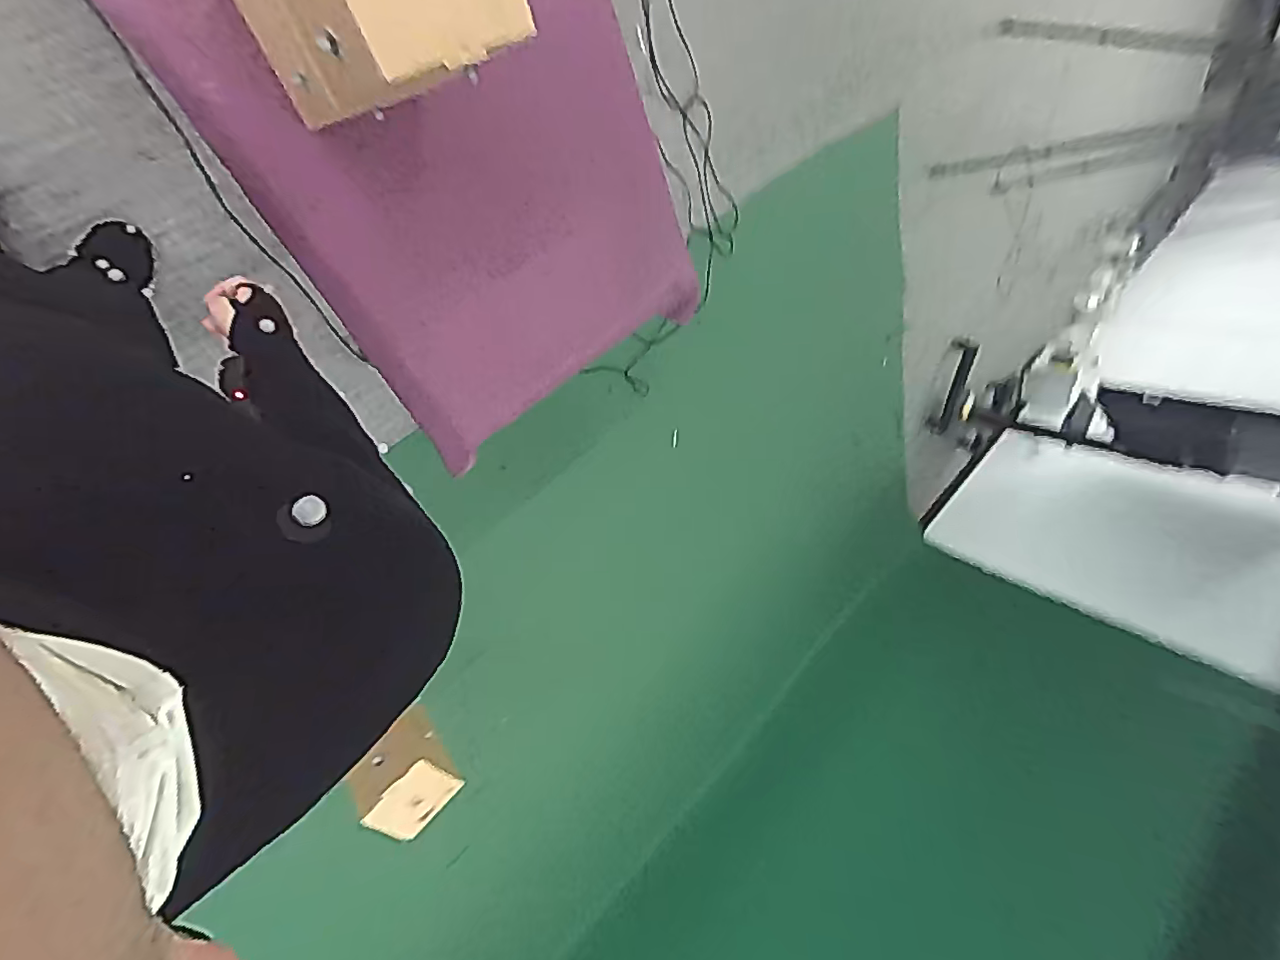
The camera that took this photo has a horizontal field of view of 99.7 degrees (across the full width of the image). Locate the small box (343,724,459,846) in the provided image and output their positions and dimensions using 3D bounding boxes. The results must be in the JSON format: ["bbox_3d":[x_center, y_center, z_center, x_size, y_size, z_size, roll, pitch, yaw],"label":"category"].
[{"bbox_3d":[-0.580,0.727,1.306,0.168,0.176,0.179,-43,130,-18],"label":"small box"}]

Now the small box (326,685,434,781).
[{"bbox_3d":[-0.686,0.677,1.420,0.179,0.176,0.168,-44,131,-16],"label":"small box"}]

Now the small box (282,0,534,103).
[{"bbox_3d":[-0.232,-0.473,0.498,0.168,0.176,0.179,-38,130,-22],"label":"small box"}]
